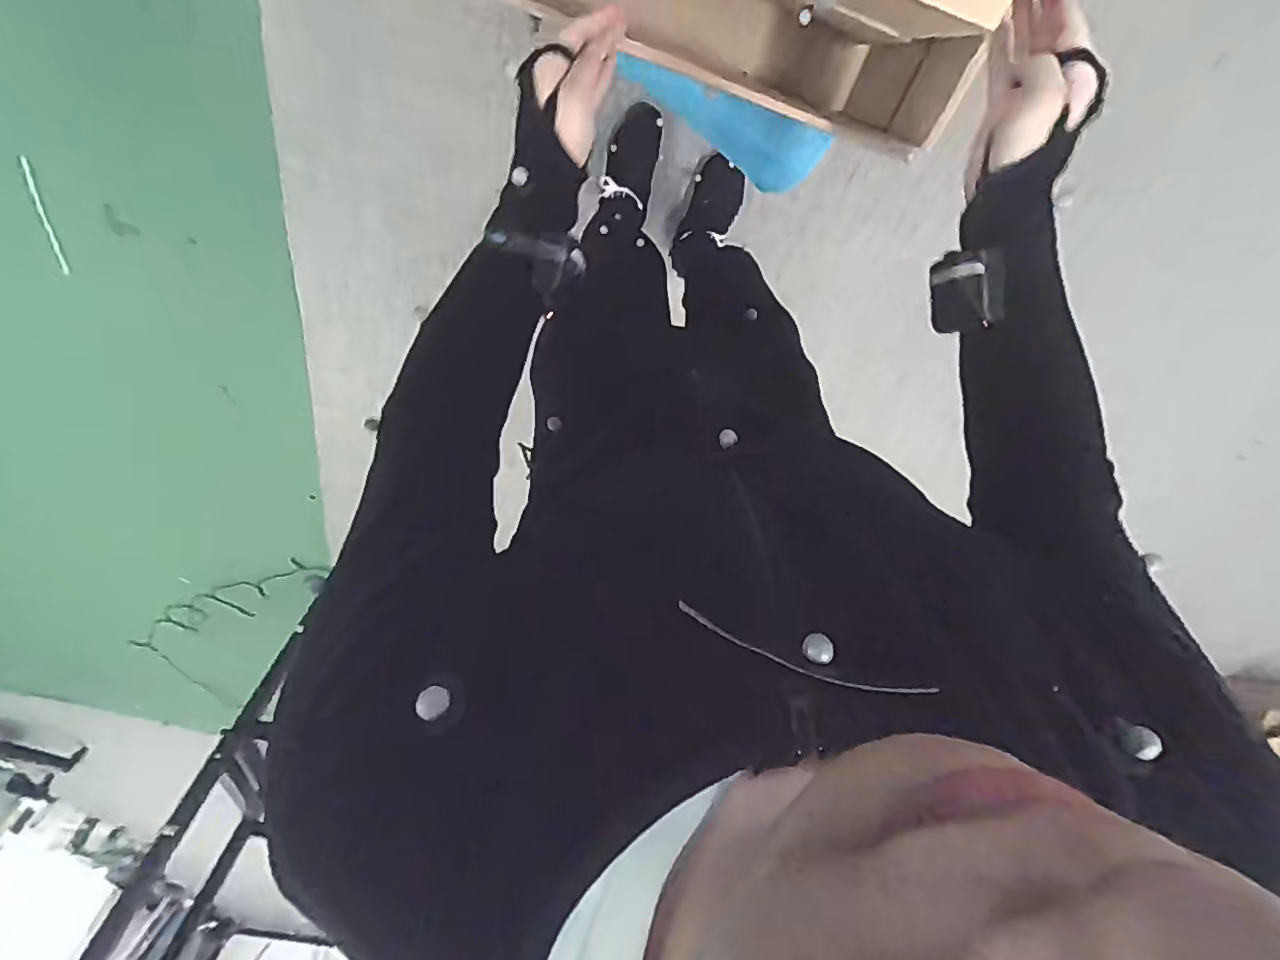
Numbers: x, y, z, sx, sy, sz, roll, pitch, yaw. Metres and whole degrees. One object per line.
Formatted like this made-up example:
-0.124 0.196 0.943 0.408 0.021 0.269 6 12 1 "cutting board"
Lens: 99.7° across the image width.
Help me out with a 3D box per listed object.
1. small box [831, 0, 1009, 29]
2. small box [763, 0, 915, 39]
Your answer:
0.182 -0.428 0.360 0.179 0.176 0.168 17 129 -6 "small box"
0.192 -0.528 0.489 0.179 0.176 0.168 17 128 -9 "small box"
